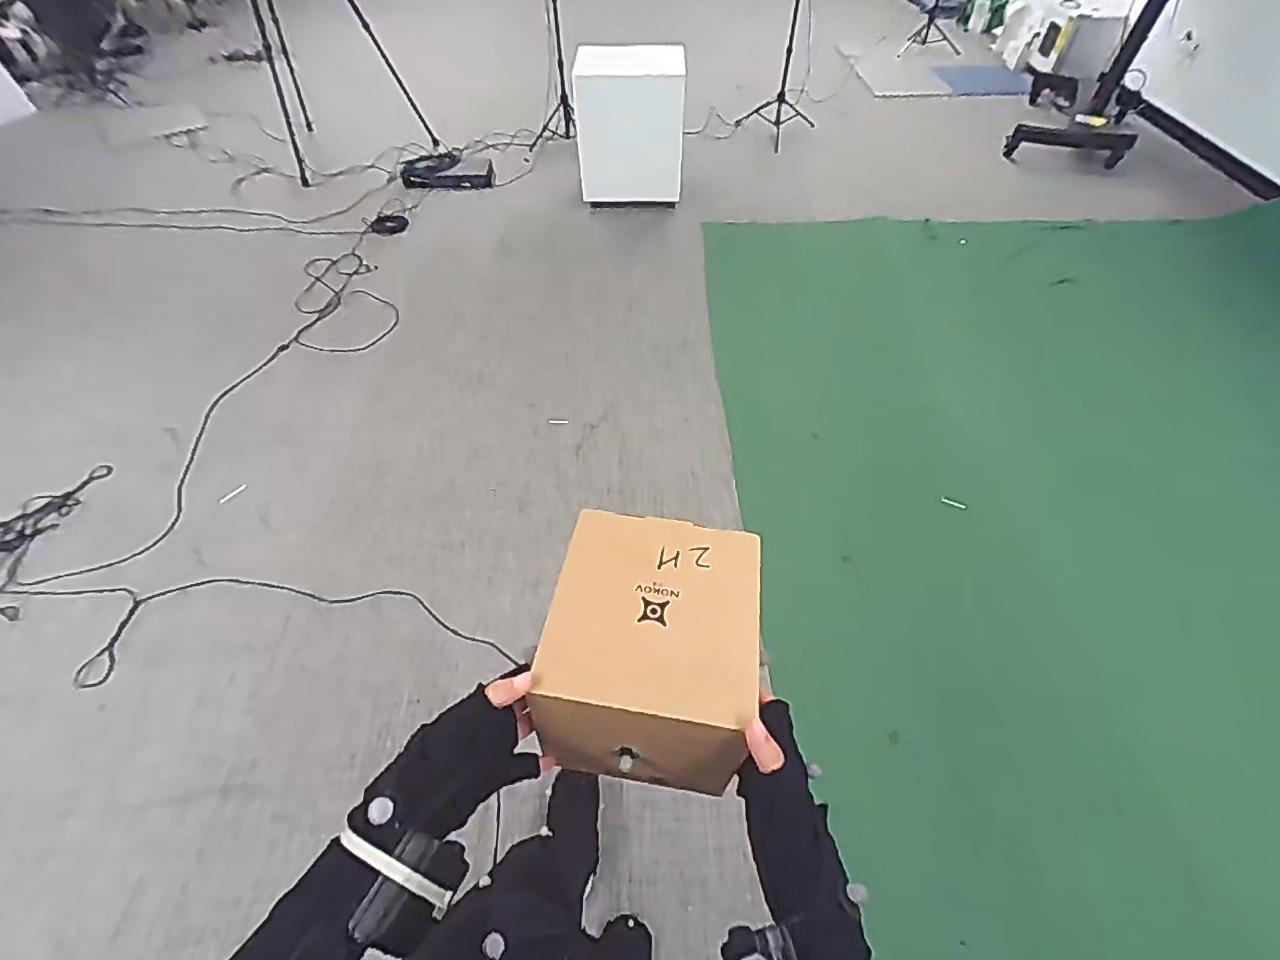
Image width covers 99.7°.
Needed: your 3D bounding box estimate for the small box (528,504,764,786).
[{"bbox_3d":[0.012,0.150,0.485,0.168,0.176,0.179,9,46,4],"label":"small box"}]
